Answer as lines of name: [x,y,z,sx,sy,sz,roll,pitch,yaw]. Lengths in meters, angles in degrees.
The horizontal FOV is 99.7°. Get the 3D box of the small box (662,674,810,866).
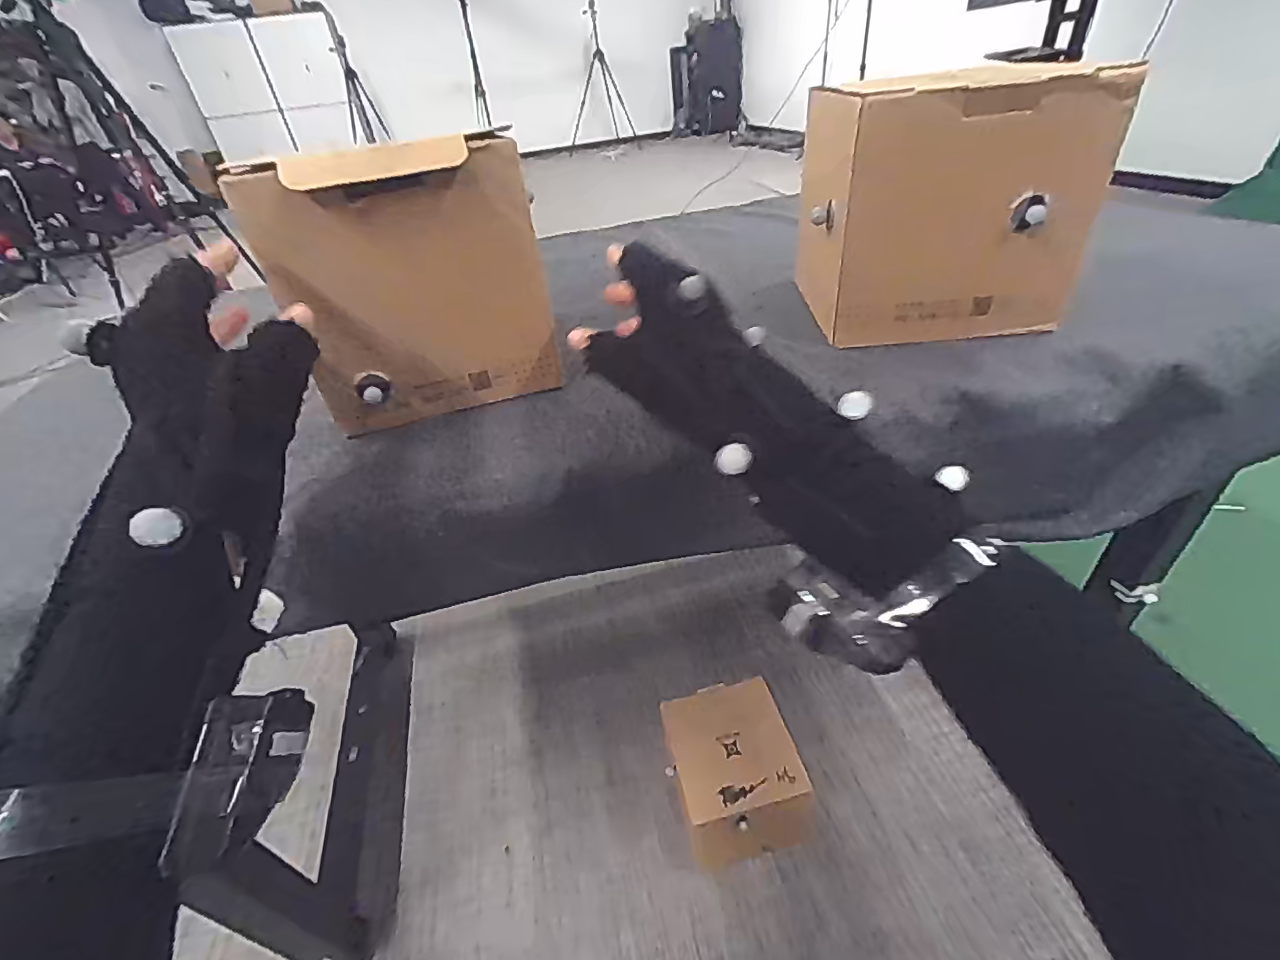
small box: [0.135,0.430,0.808,0.168,0.176,0.179,-13,36,-6]

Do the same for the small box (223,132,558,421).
small box: [-0.171,-0.159,0.424,0.168,0.176,0.179,-16,36,-11]

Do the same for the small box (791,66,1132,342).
small box: [0.223,-0.218,0.438,0.168,0.176,0.179,-2,36,5]
